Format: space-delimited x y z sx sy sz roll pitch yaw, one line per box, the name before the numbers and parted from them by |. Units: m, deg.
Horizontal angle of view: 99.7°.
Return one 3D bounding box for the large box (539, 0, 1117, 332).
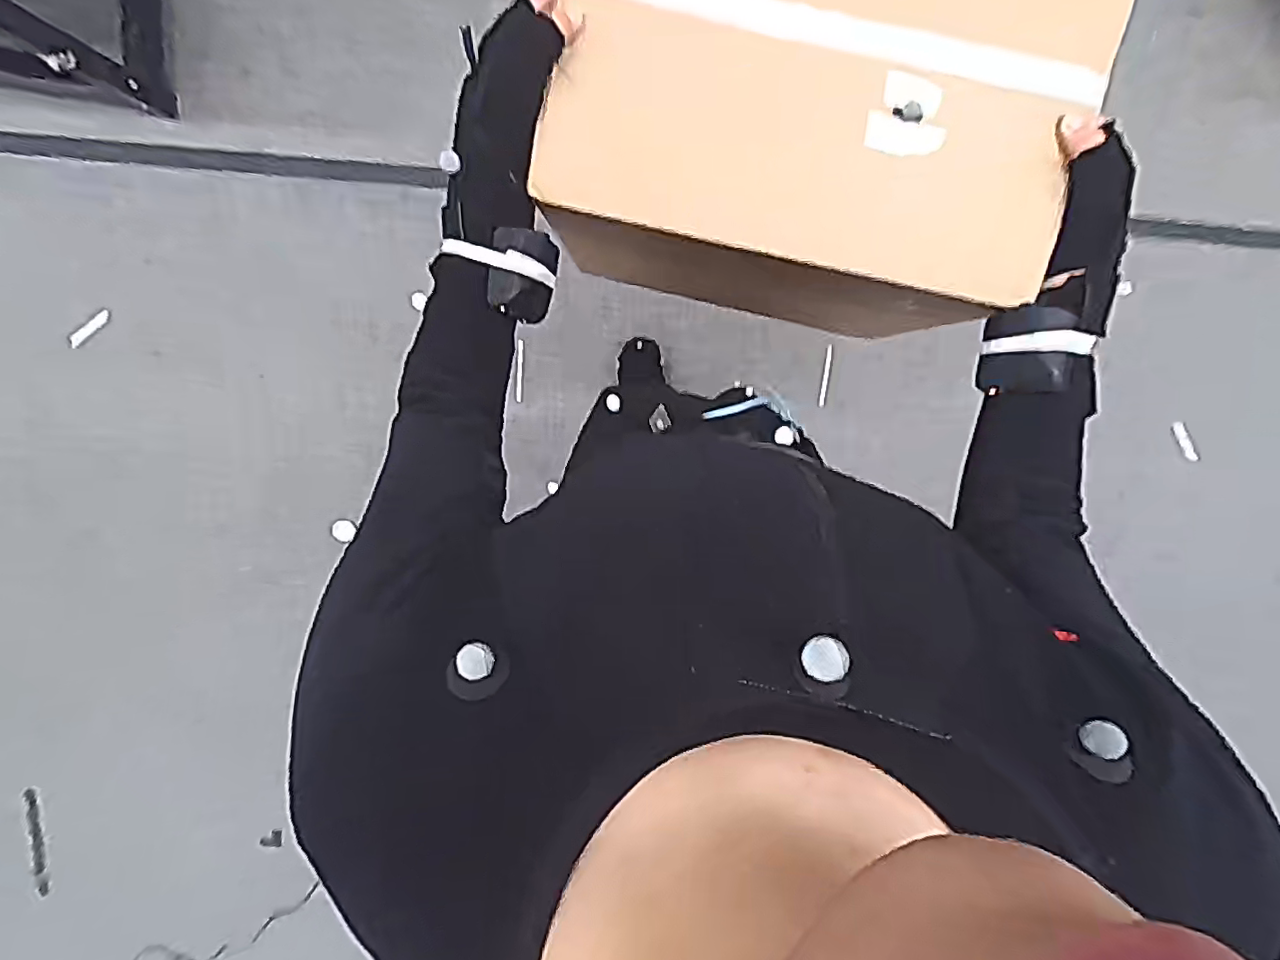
large box | 0.141 -0.356 0.550 0.408 0.320 0.320 12 101 -2
